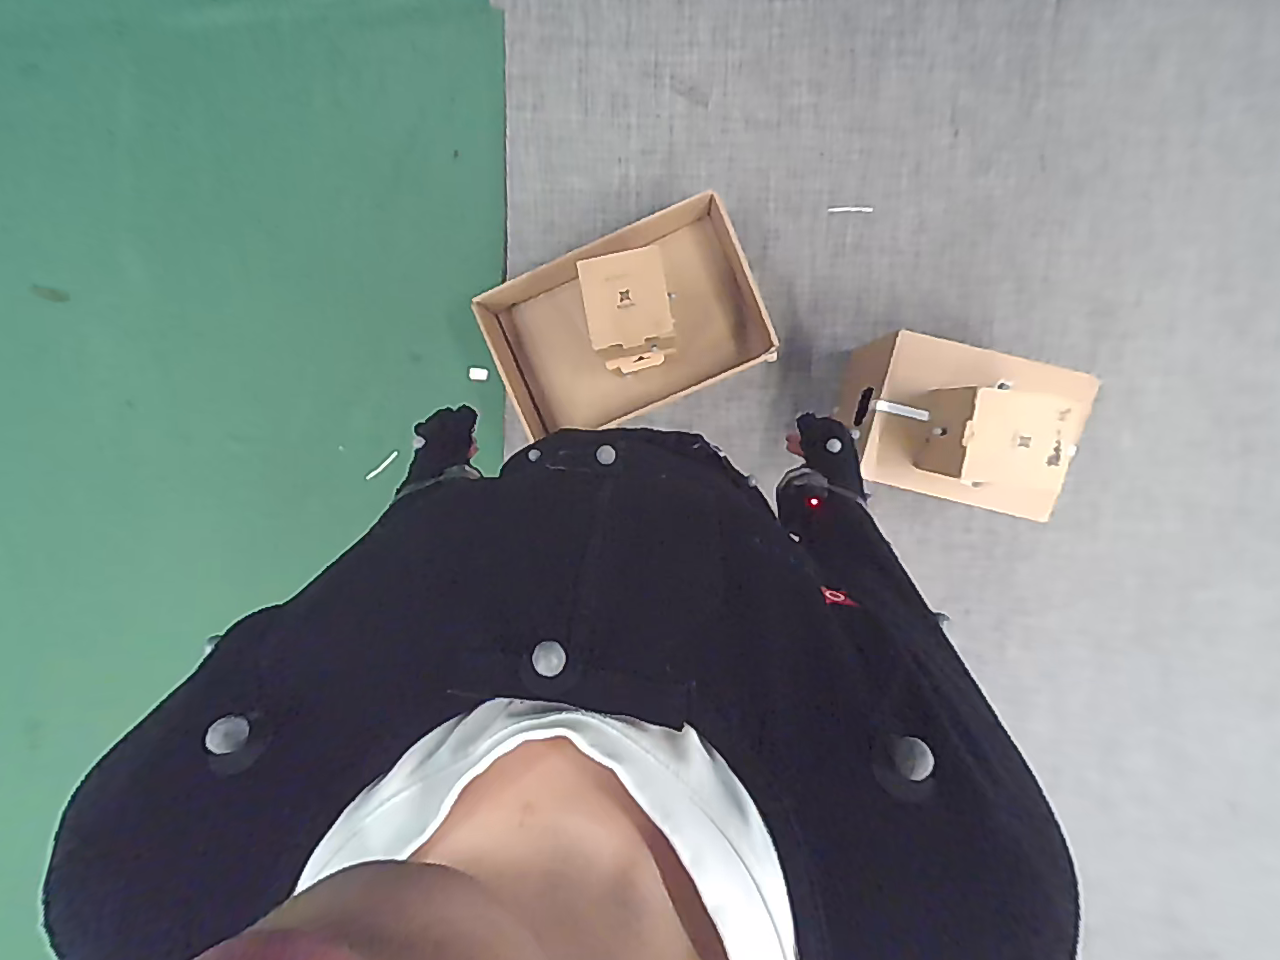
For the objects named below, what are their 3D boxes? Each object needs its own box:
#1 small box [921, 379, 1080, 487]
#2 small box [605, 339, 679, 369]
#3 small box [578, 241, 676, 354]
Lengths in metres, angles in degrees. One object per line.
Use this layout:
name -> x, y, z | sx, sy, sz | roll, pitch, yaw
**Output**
small box -> 0.659, -0.090, 1.013 | 0.179, 0.176, 0.168 | 9, 98, 3
small box -> -0.006, -0.370, 1.292 | 0.168, 0.176, 0.179 | -15, 93, 7
small box -> -0.019, -0.368, 1.130 | 0.168, 0.176, 0.179 | -11, 93, 5
